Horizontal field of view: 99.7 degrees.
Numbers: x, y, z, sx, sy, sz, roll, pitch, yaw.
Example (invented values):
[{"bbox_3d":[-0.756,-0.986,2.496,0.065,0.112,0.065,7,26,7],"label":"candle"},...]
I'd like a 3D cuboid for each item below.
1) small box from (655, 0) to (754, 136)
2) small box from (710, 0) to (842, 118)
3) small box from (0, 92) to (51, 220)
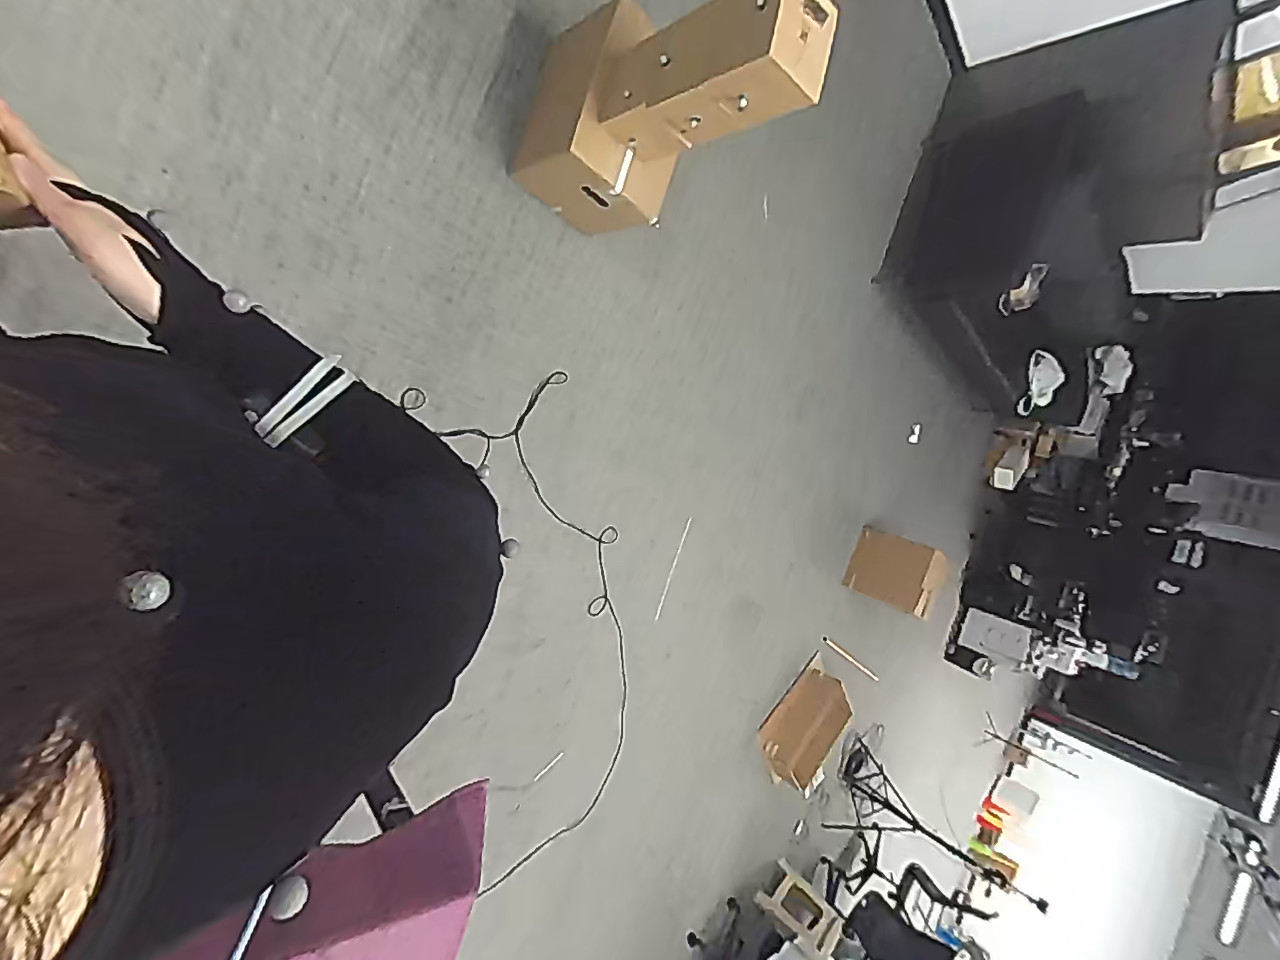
[{"bbox_3d":[0.153,-0.885,1.172,0.168,0.176,0.179,7,99,-42],"label":"small box"},{"bbox_3d":[0.259,-0.851,1.049,0.168,0.176,0.179,7,99,-41],"label":"small box"},{"bbox_3d":[-0.430,-0.216,0.244,0.168,0.176,0.179,-27,122,-32],"label":"small box"}]
